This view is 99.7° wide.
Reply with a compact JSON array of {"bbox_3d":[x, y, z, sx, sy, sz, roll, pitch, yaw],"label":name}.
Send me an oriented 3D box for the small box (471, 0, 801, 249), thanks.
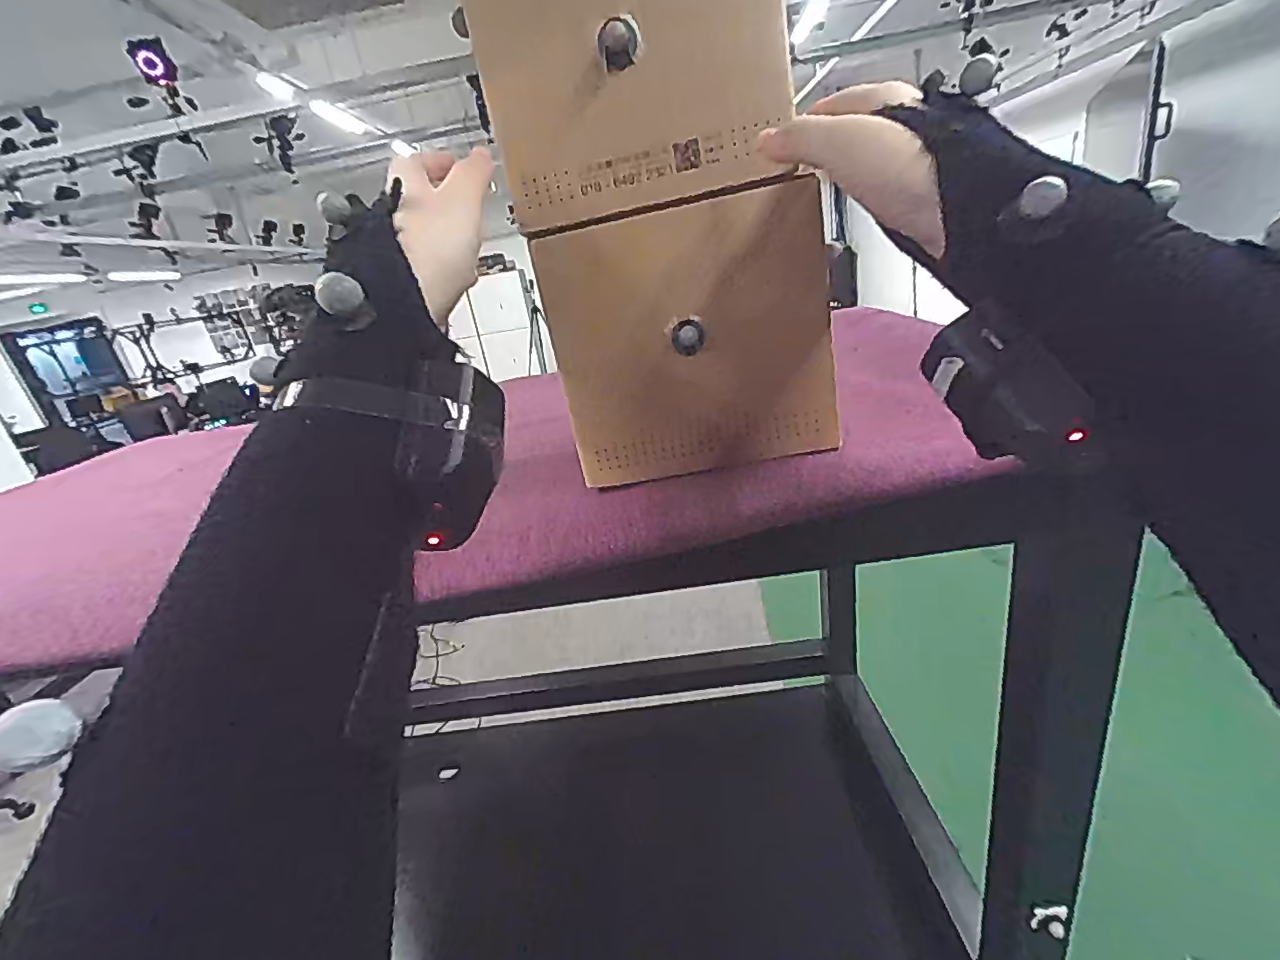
[{"bbox_3d":[0.002,-0.261,0.359,0.168,0.176,0.179,-9,20,6],"label":"small box"}]
